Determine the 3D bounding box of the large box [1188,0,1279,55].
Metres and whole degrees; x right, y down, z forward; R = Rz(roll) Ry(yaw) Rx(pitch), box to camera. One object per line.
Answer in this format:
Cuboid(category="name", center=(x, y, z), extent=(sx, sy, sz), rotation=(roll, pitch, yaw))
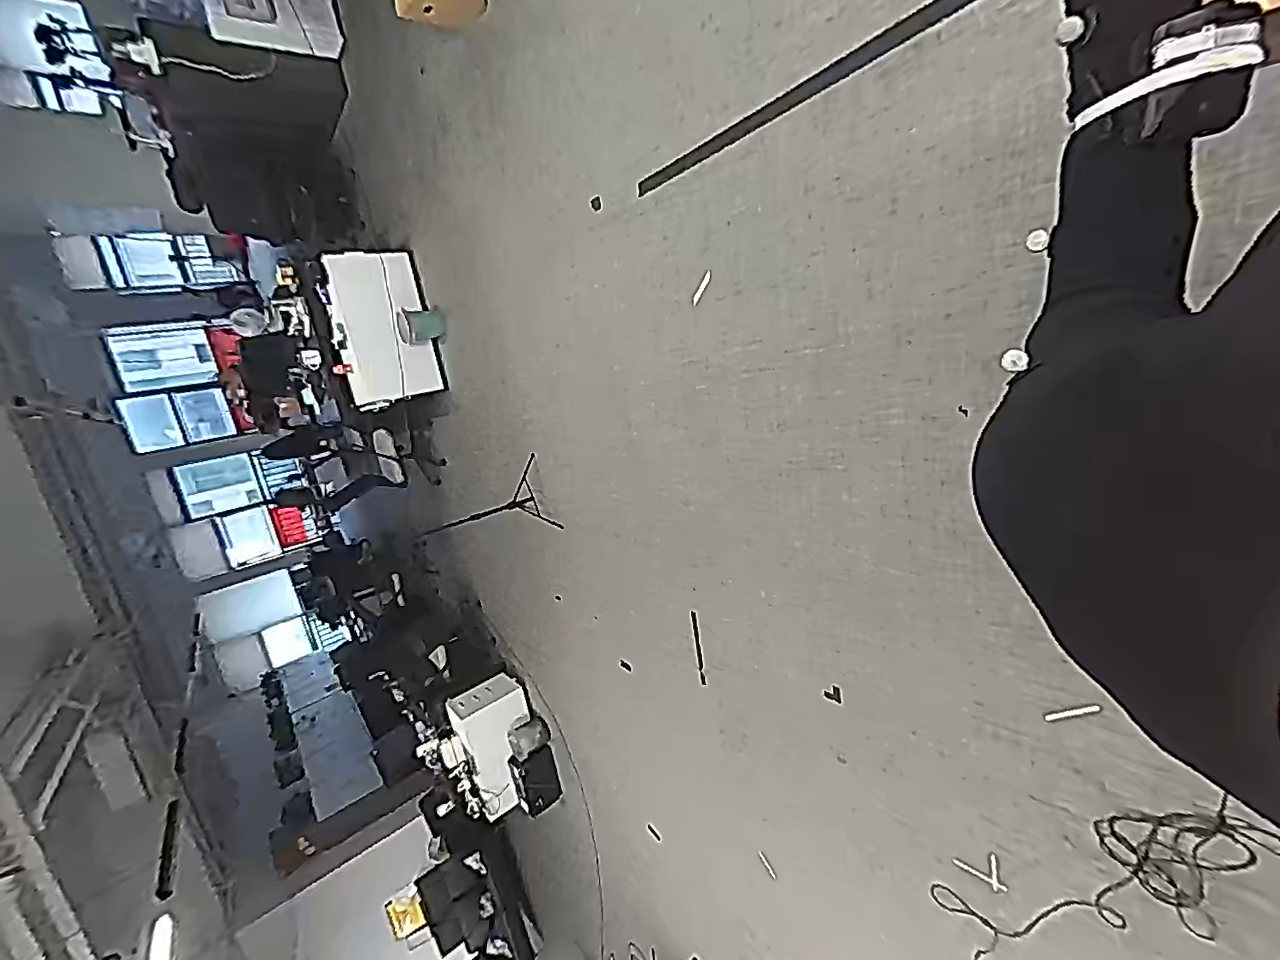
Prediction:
Cuboid(category="large box", center=(0.557, -0.480, 0.241), extent=(0.408, 0.320, 0.320), rotation=(9, 118, 51))
